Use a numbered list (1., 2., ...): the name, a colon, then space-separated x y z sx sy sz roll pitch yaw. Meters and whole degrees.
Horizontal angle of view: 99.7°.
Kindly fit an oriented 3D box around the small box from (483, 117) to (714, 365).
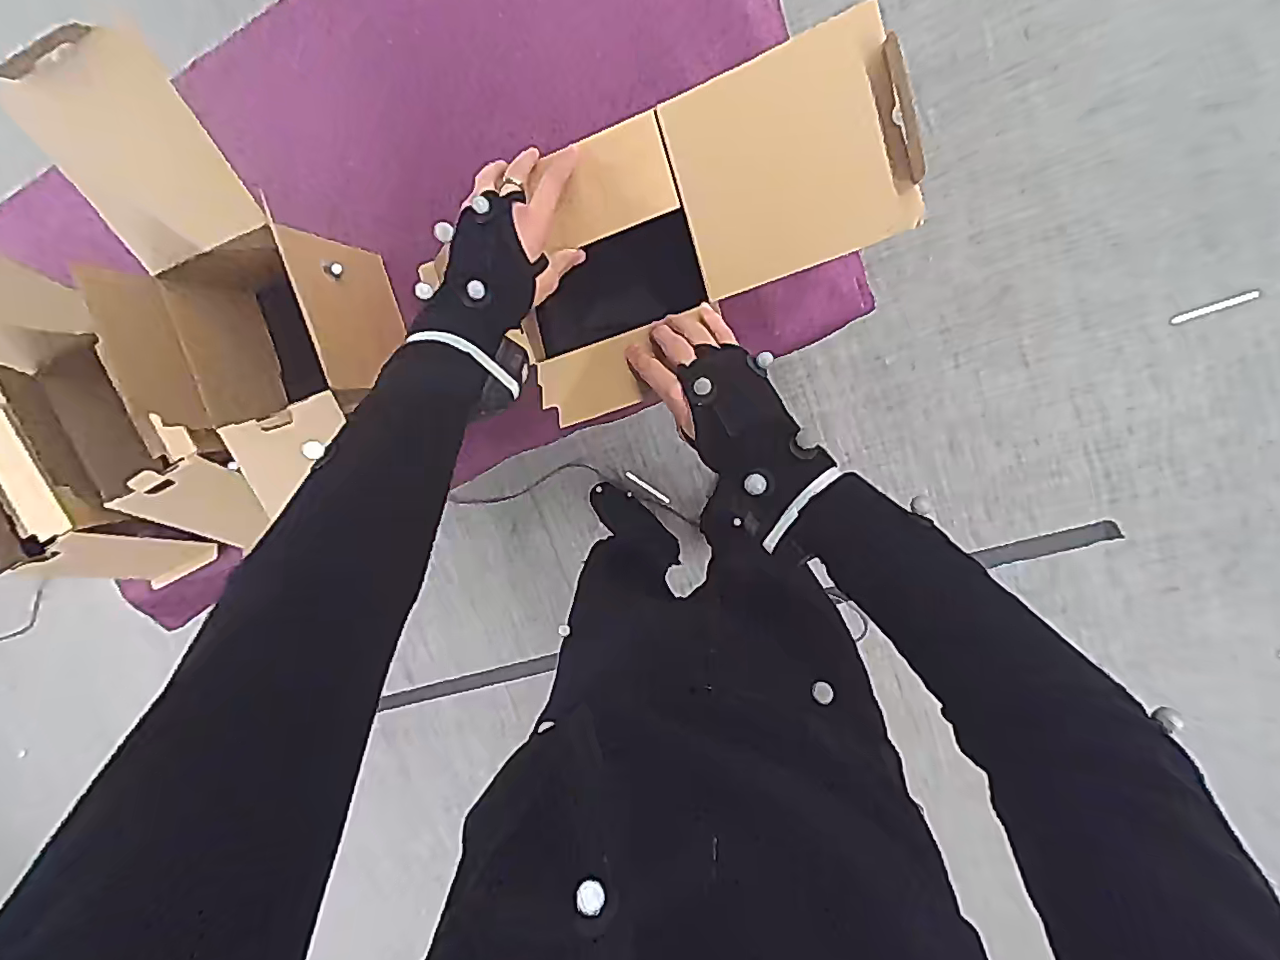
1. small box: -0.025 -0.221 0.554 0.179 0.176 0.168 -14 97 14
